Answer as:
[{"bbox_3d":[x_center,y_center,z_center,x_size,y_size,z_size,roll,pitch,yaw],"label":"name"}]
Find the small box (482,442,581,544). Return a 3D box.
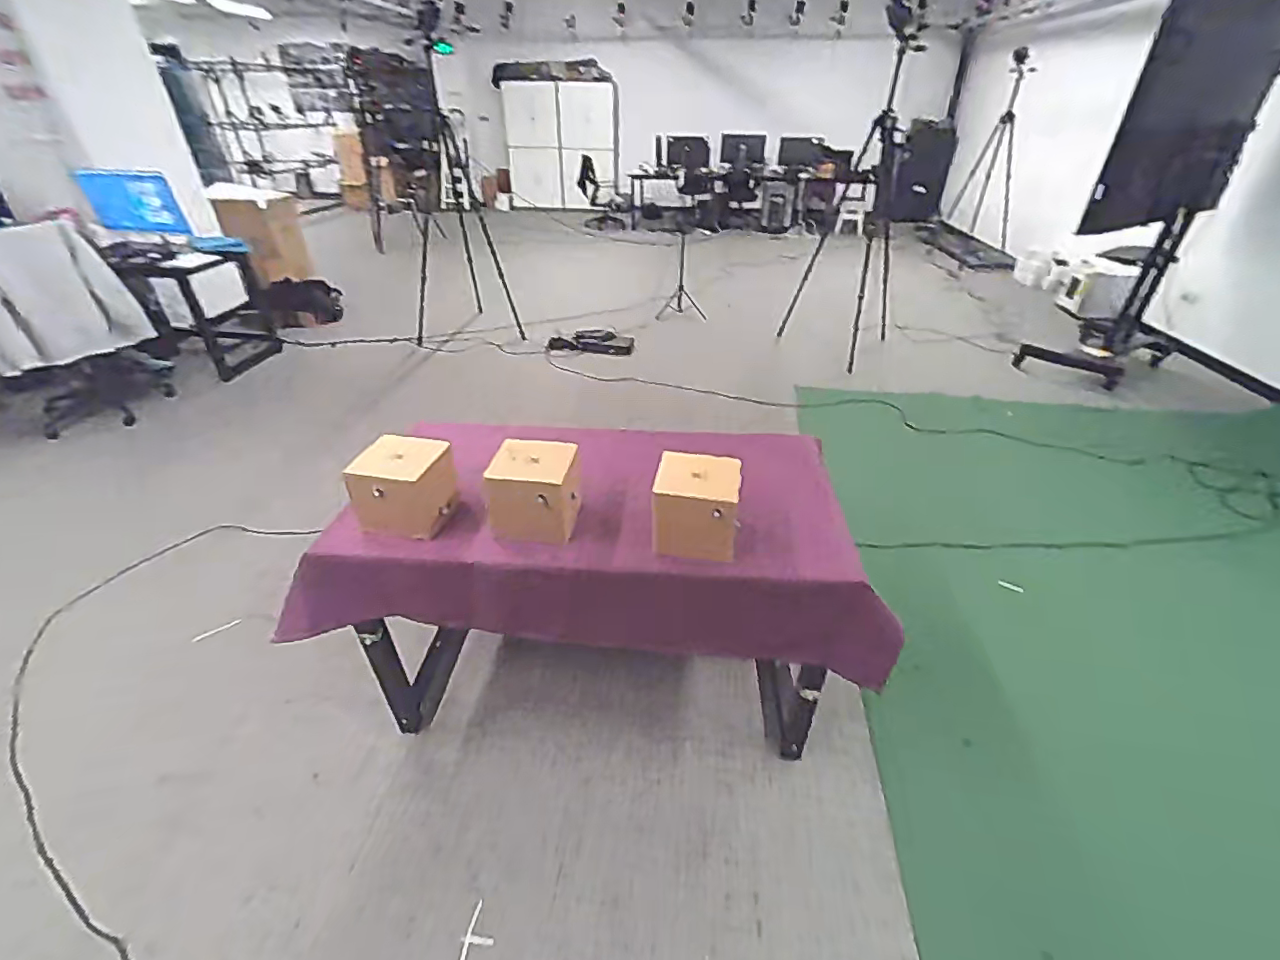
[{"bbox_3d":[-0.237,0.030,1.238,0.179,0.176,0.168,4,34,6],"label":"small box"}]

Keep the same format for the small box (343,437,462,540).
[{"bbox_3d":[-0.538,0.020,1.251,0.179,0.176,0.168,8,35,9],"label":"small box"}]

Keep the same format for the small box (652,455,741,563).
[{"bbox_3d":[0.124,0.064,1.195,0.179,0.176,0.168,7,35,9],"label":"small box"}]
